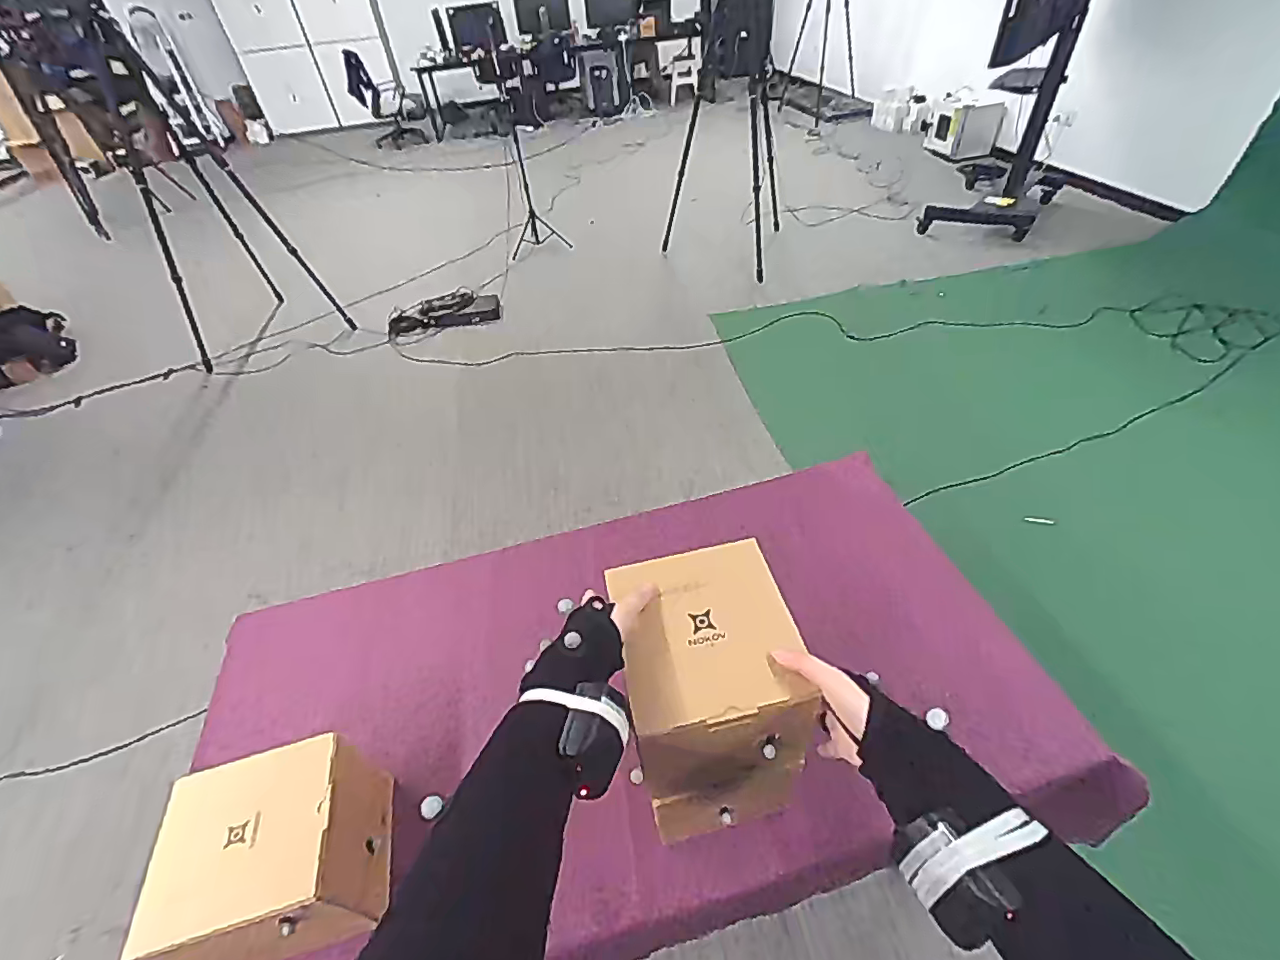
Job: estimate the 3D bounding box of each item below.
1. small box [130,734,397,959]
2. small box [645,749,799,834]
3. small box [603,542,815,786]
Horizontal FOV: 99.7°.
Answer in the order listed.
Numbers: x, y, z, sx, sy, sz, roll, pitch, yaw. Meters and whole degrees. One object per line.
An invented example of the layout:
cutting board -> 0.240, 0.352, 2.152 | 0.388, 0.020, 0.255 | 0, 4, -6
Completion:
small box -> -0.406, 0.431, 0.624 | 0.179, 0.176, 0.168 | -15, 44, -9
small box -> 0.081, 0.315, 0.673 | 0.168, 0.176, 0.179 | -13, 44, -6
small box -> 0.063, 0.196, 0.563 | 0.168, 0.176, 0.179 | -11, 44, -4
